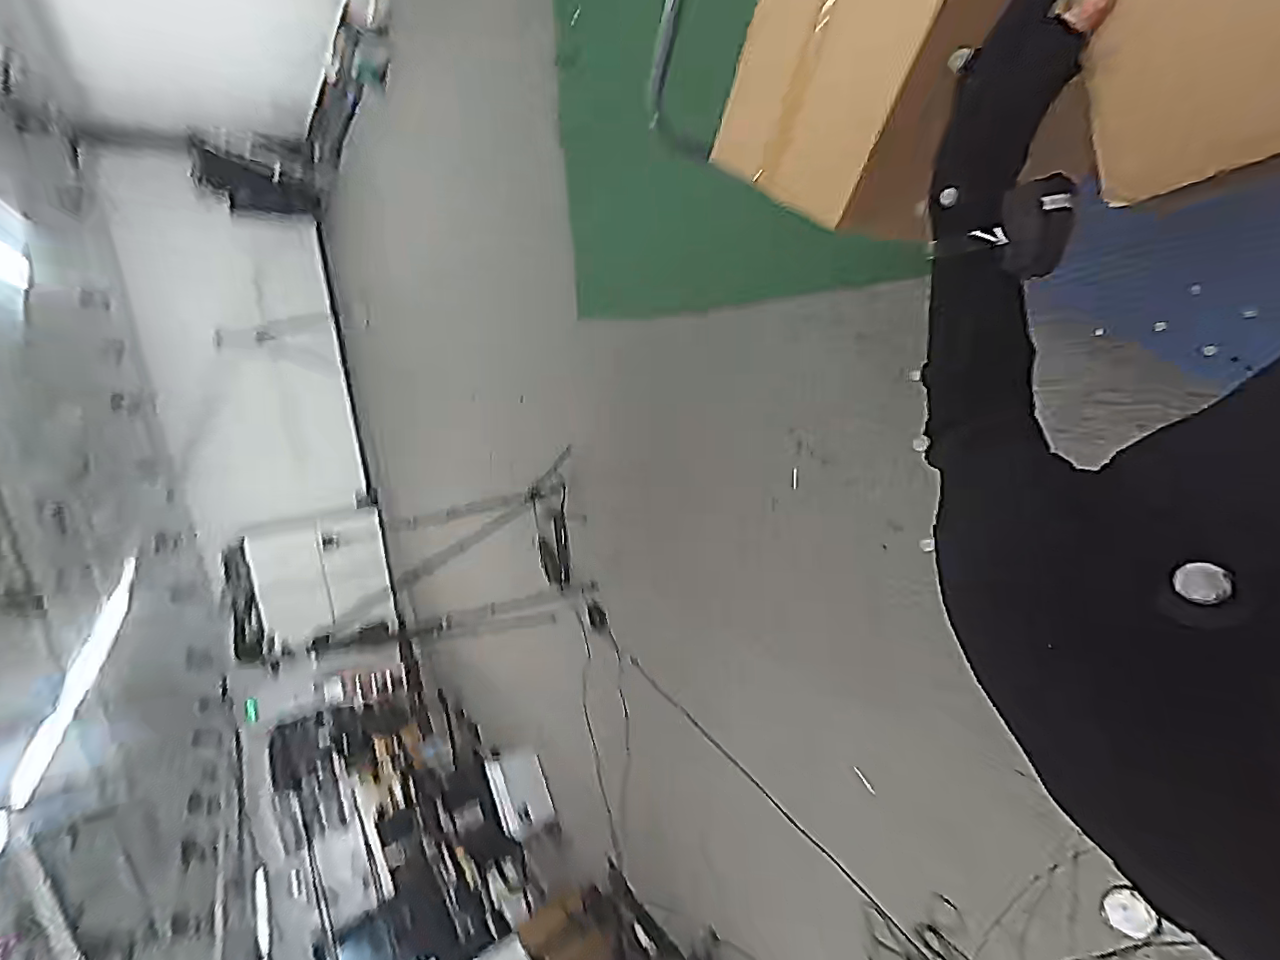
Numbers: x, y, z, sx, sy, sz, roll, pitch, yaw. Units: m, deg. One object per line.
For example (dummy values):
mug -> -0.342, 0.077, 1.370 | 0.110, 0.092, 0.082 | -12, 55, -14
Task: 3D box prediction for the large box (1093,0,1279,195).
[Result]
large box -> 0.512, -0.398, 0.281 | 0.408, 0.320, 0.320 | -6, 104, 51
